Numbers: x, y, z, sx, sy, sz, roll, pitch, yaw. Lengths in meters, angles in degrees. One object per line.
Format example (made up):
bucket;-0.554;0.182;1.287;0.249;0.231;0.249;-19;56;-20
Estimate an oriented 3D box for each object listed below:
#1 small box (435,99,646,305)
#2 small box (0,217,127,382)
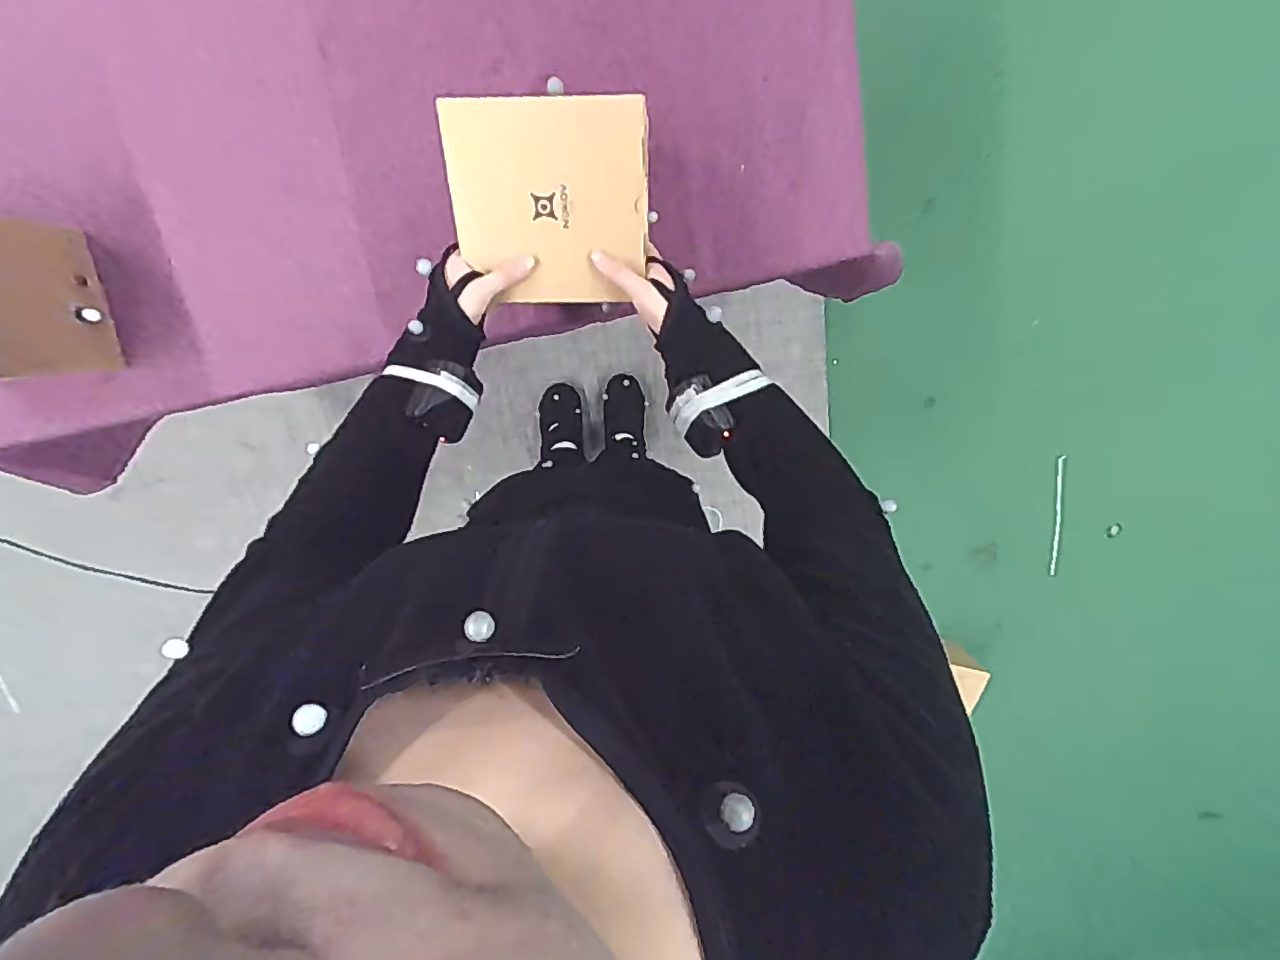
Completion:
small box;-0.084;-0.279;0.553;0.179;0.176;0.168;0;119;0
small box;-0.737;-0.190;0.589;0.179;0.176;0.168;-5;106;-1
